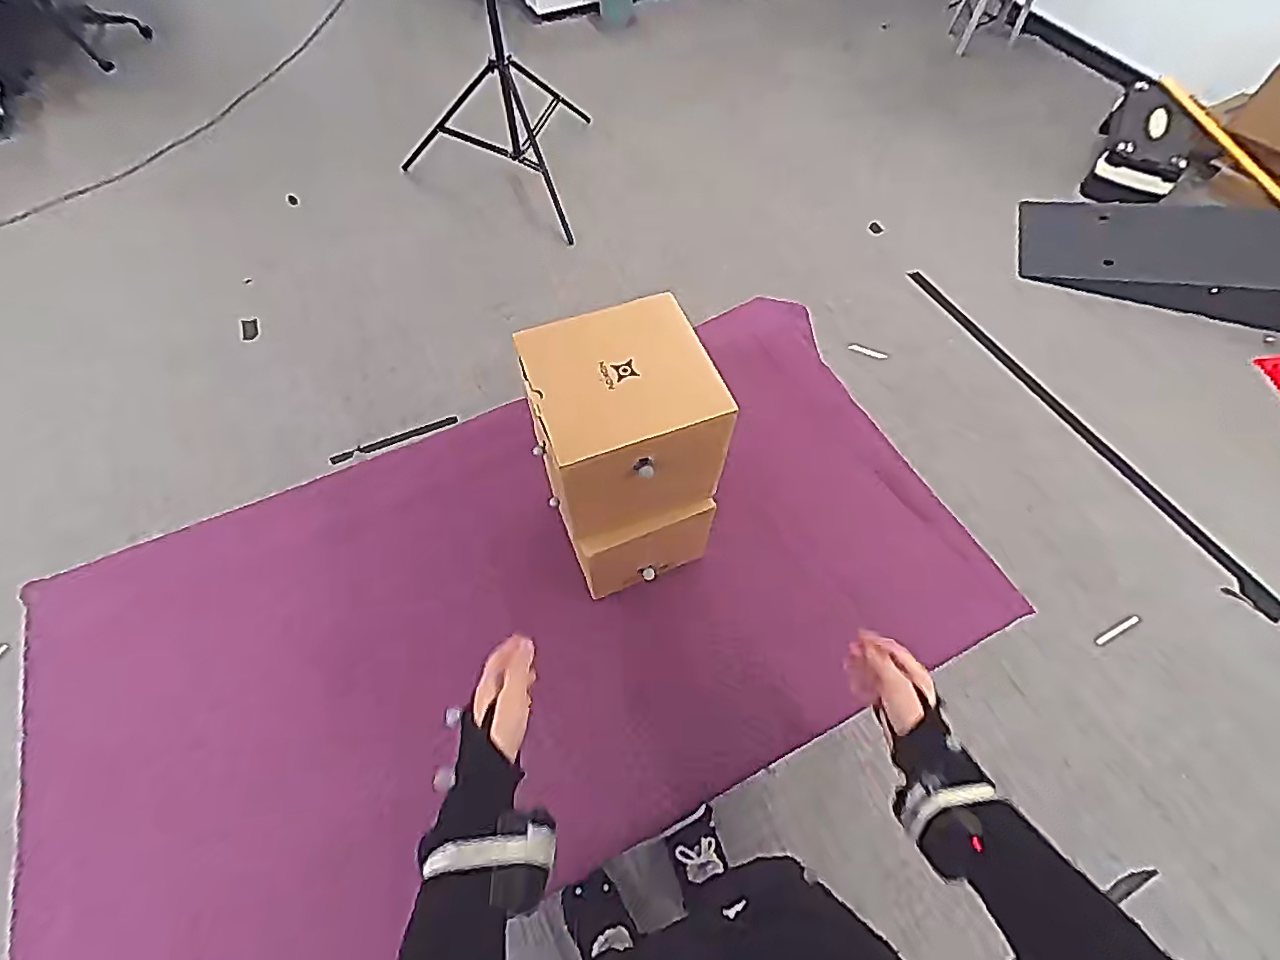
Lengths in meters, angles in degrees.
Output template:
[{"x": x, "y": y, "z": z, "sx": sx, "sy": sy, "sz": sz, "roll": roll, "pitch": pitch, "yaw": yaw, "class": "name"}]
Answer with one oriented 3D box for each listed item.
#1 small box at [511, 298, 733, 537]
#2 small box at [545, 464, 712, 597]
[{"x": -0.022, "y": -0.060, "z": 0.588, "sx": 0.179, "sy": 0.176, "sz": 0.168, "roll": -19, "pitch": 63, "yaw": -10, "class": "small box"}, {"x": -0.023, "y": 0.030, "z": 0.723, "sx": 0.168, "sy": 0.176, "sz": 0.179, "roll": -20, "pitch": 64, "yaw": -11, "class": "small box"}]
